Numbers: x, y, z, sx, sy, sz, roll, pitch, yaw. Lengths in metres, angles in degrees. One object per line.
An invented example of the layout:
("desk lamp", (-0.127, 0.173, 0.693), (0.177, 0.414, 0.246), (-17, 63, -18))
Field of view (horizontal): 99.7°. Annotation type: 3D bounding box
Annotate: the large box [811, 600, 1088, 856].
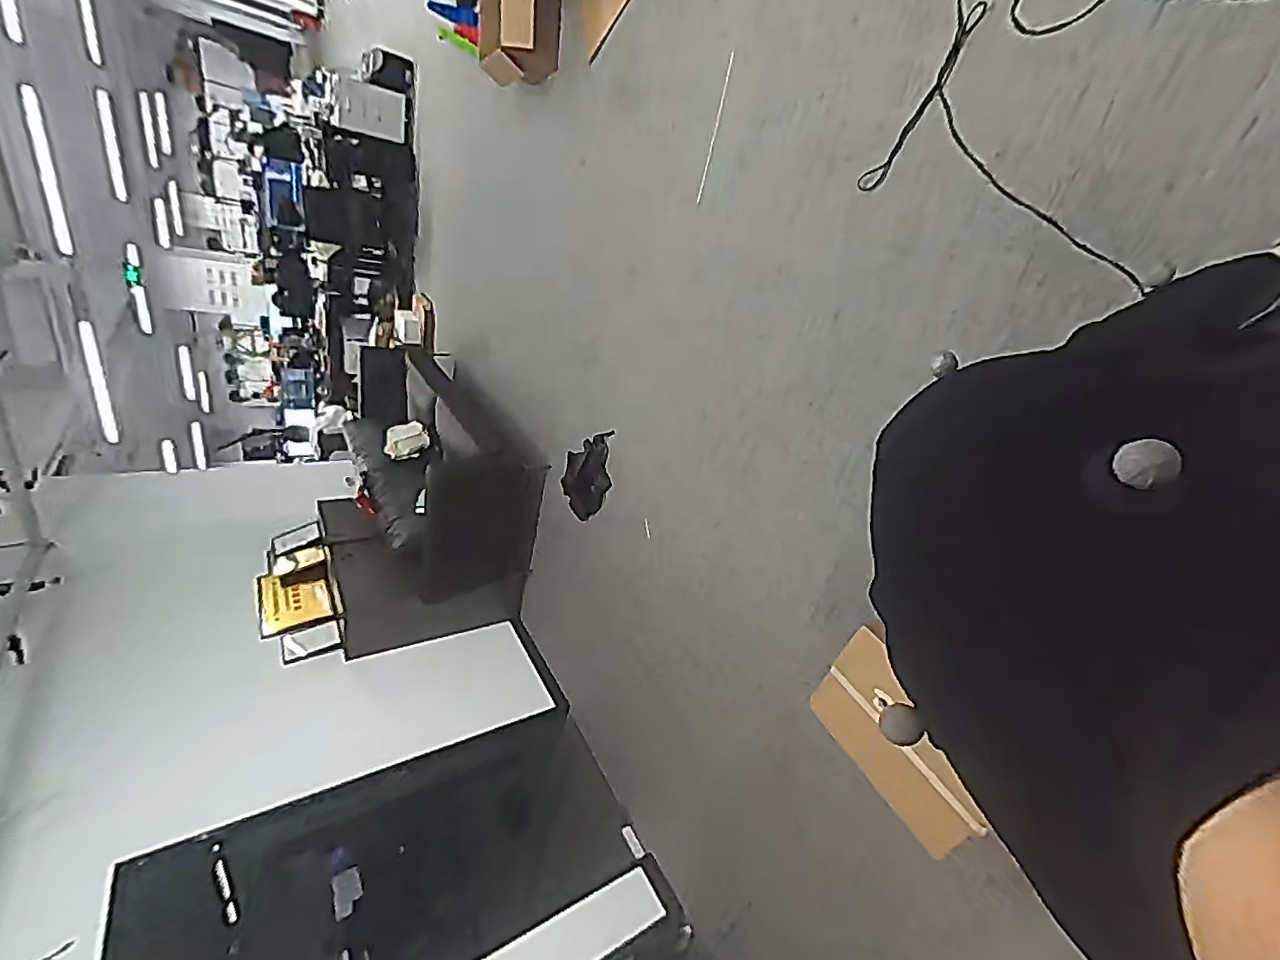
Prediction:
("large box", (0.703, 0.554, 1.276), (0.408, 0.320, 0.320), (50, 133, 41))
